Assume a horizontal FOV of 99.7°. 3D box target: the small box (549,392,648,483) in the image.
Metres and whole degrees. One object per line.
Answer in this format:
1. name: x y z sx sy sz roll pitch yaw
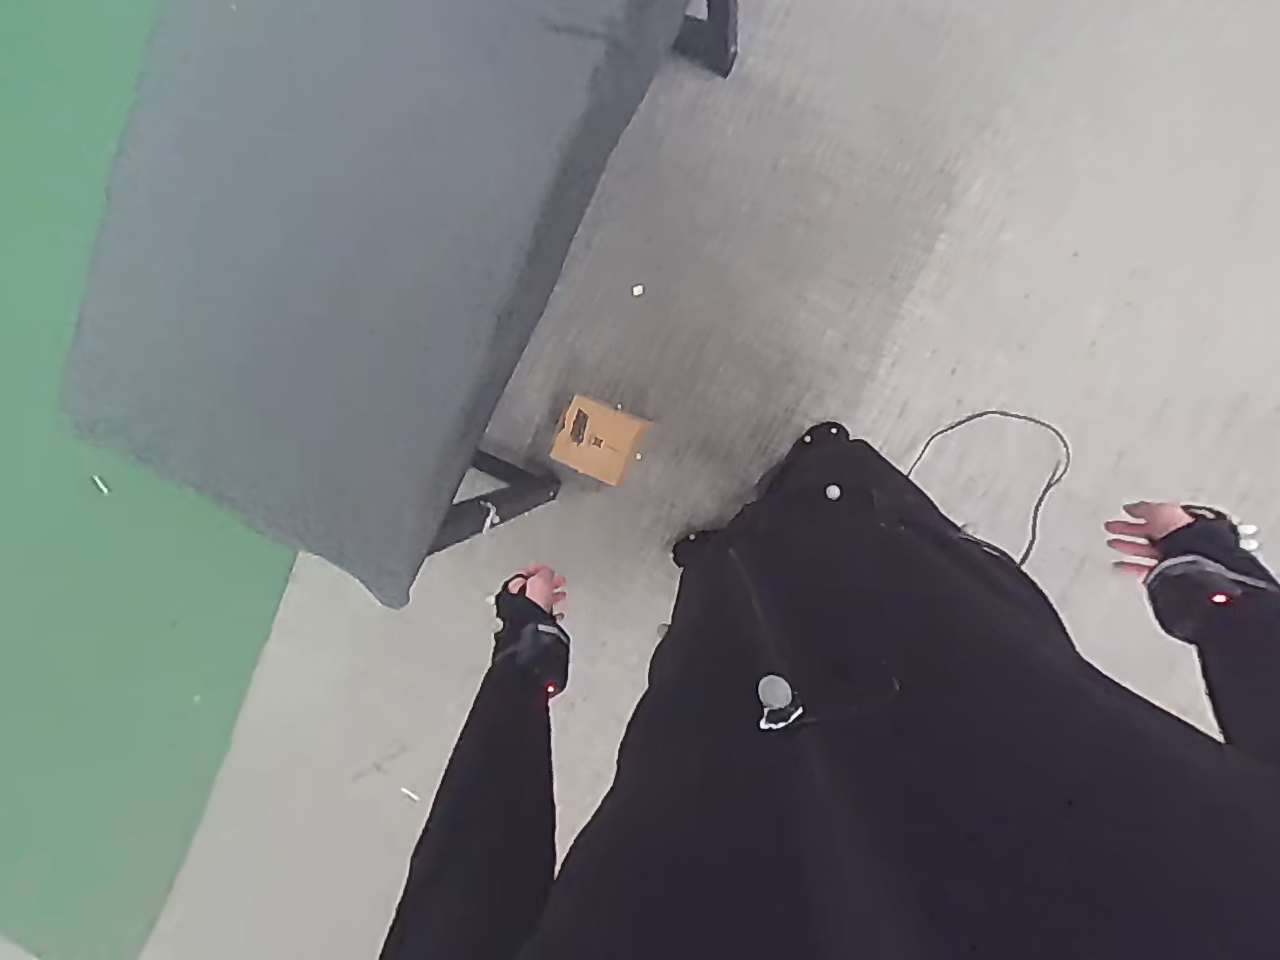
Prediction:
1. small box: -0.097 -0.106 1.336 0.179 0.176 0.168 24 100 4
